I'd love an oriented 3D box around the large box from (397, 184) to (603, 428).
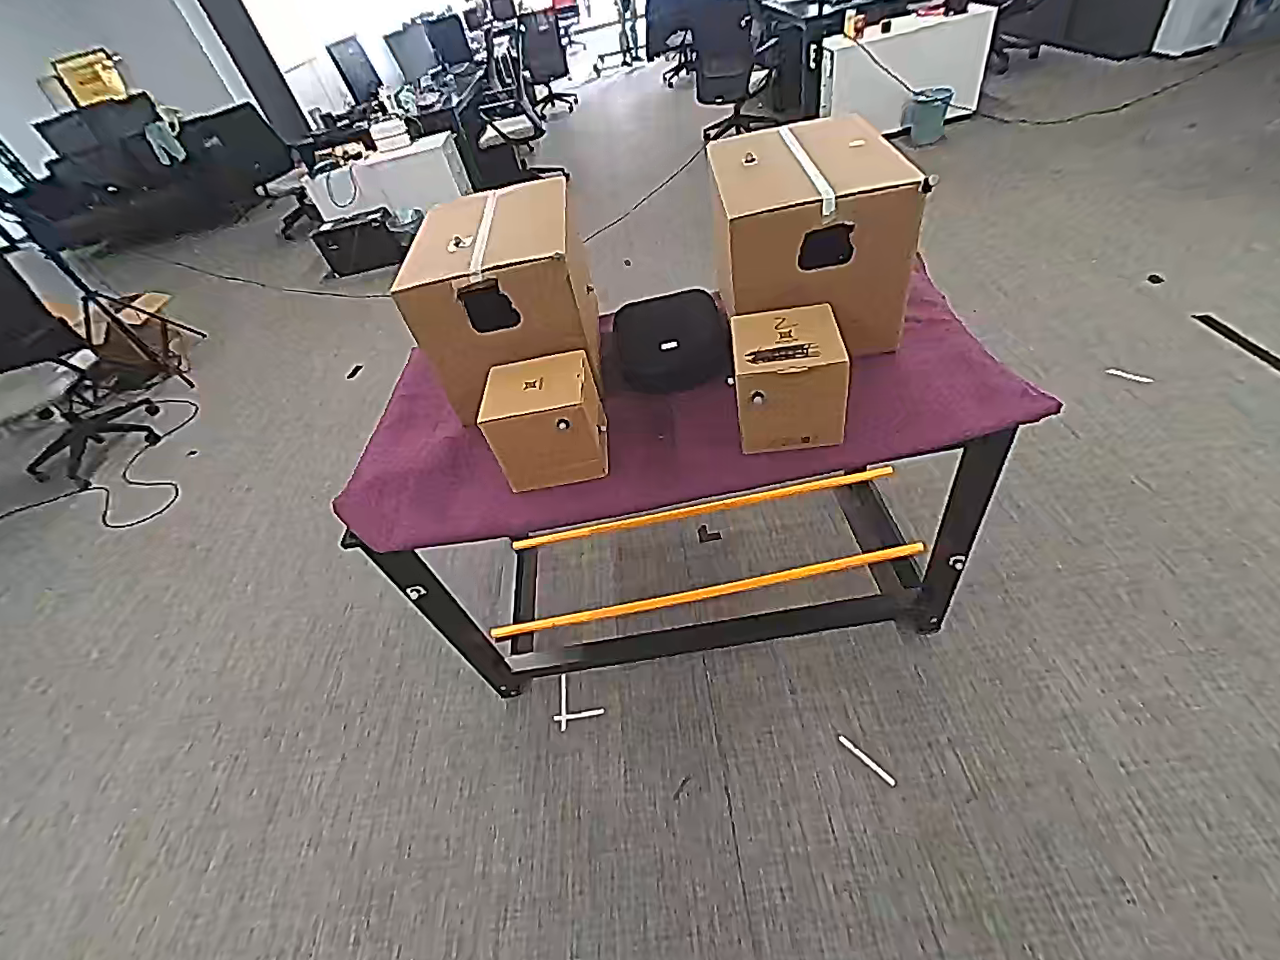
[{"bbox_3d":[-0.270,-0.377,1.163,0.320,0.320,0.408,-12,47,4],"label":"large box"}]
